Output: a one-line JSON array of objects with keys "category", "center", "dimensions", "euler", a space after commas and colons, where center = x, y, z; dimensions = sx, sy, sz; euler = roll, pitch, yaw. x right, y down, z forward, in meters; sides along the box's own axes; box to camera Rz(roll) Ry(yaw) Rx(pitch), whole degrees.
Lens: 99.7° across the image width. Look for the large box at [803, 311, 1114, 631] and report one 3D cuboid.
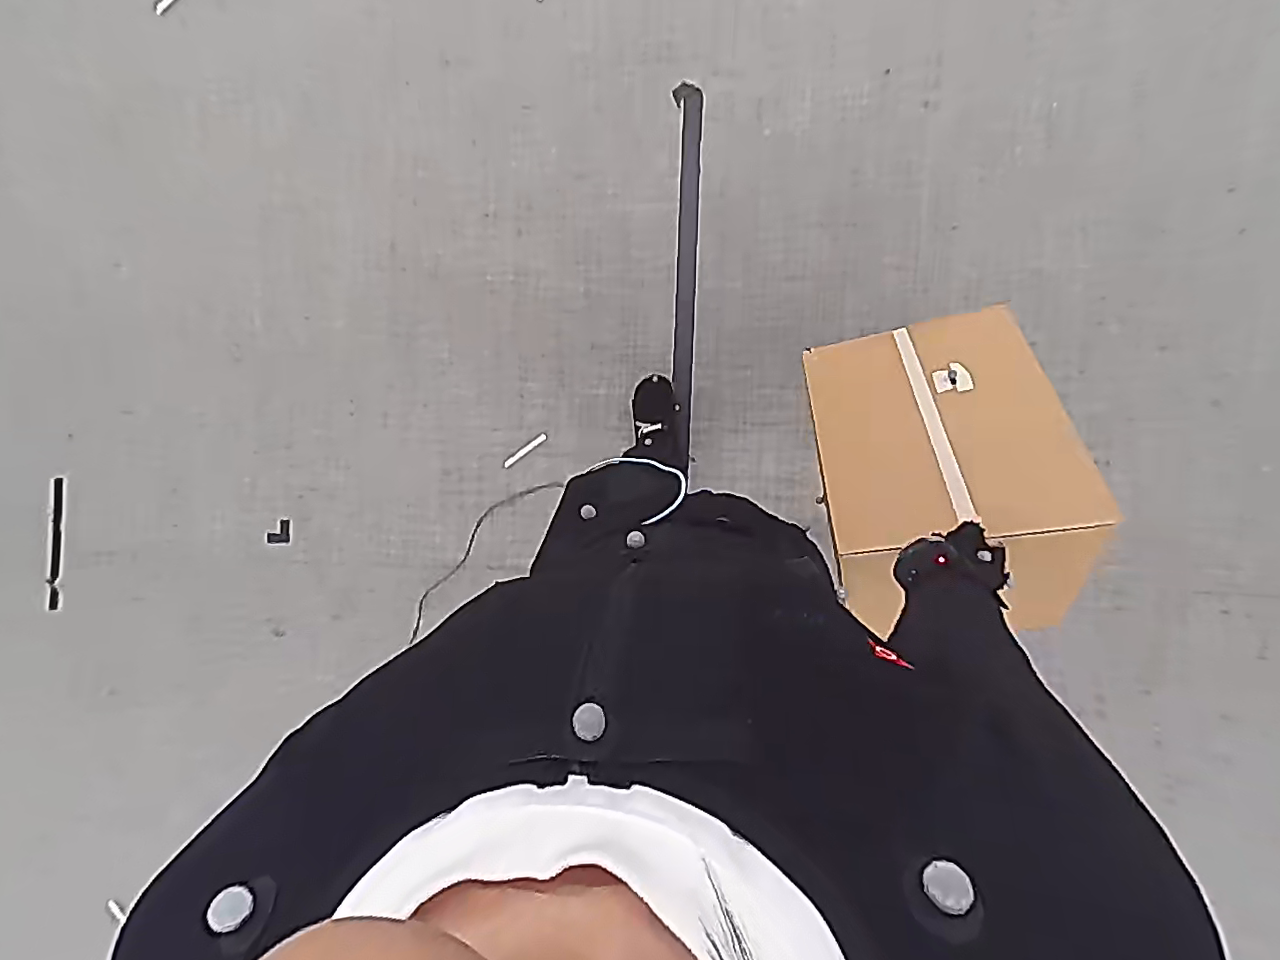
[{"category": "large box", "center": [0.474, -0.005, 0.905], "dimensions": [0.320, 0.320, 0.408], "euler": [-9, 51, 16]}]
